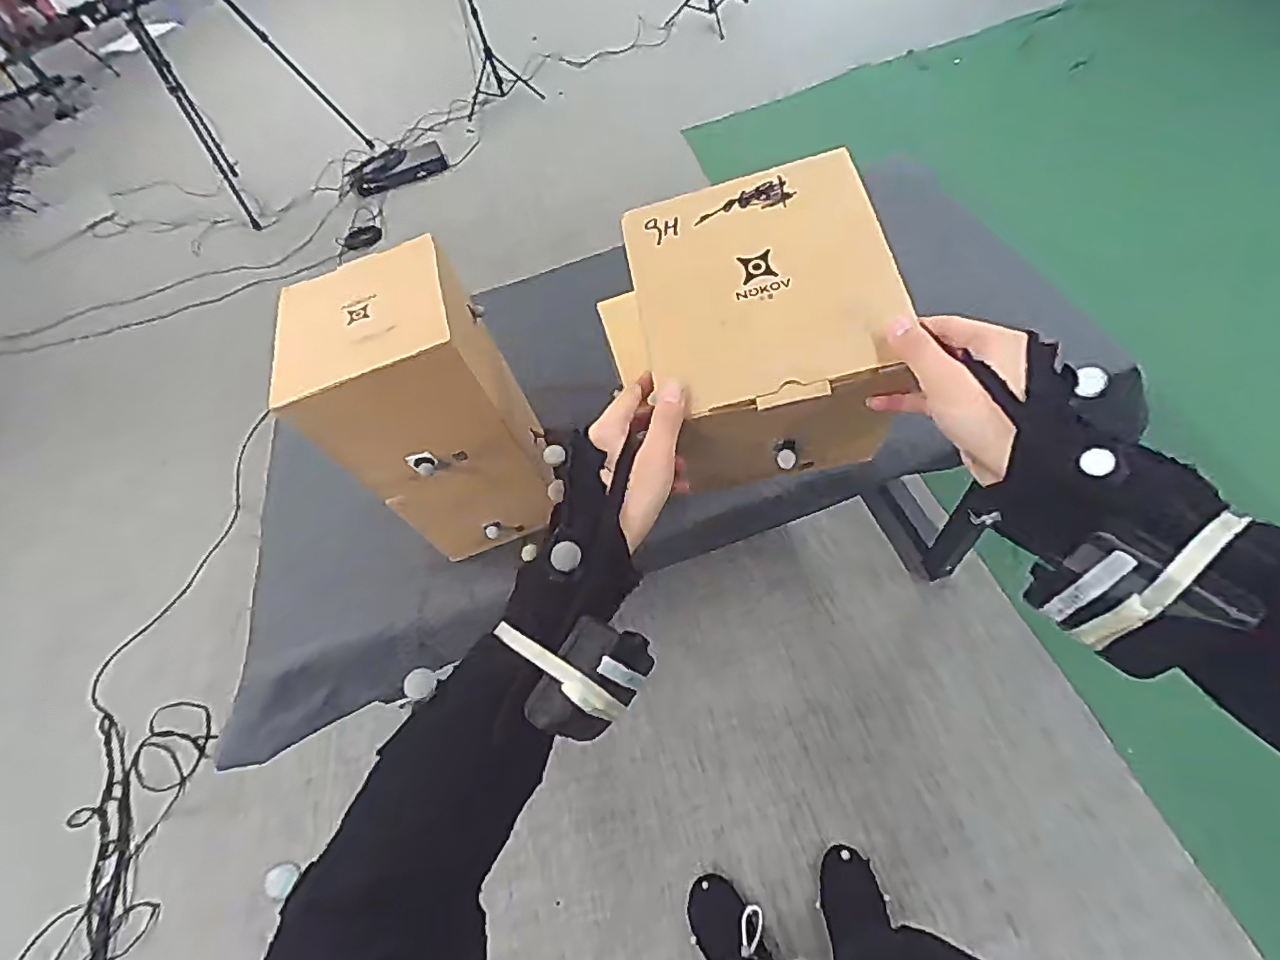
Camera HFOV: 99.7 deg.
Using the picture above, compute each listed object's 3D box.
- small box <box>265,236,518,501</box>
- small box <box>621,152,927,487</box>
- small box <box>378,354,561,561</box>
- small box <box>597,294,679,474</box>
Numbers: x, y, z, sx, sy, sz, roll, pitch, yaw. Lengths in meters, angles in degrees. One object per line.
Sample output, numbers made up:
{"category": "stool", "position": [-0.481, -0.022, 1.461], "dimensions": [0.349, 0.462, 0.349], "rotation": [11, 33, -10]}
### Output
{"category": "small box", "position": [-0.245, -0.109, 0.561], "dimensions": [0.168, 0.176, 0.179], "rotation": [-22, 57, -1]}
{"category": "small box", "position": [0.093, -0.103, 0.426], "dimensions": [0.168, 0.176, 0.179], "rotation": [-13, 70, 8]}
{"category": "small box", "position": [-0.216, -0.024, 0.696], "dimensions": [0.168, 0.176, 0.179], "rotation": [-21, 57, -2]}
{"category": "small box", "position": [0.054, -0.137, 0.713], "dimensions": [0.168, 0.176, 0.179], "rotation": [-18, 57, 0]}
